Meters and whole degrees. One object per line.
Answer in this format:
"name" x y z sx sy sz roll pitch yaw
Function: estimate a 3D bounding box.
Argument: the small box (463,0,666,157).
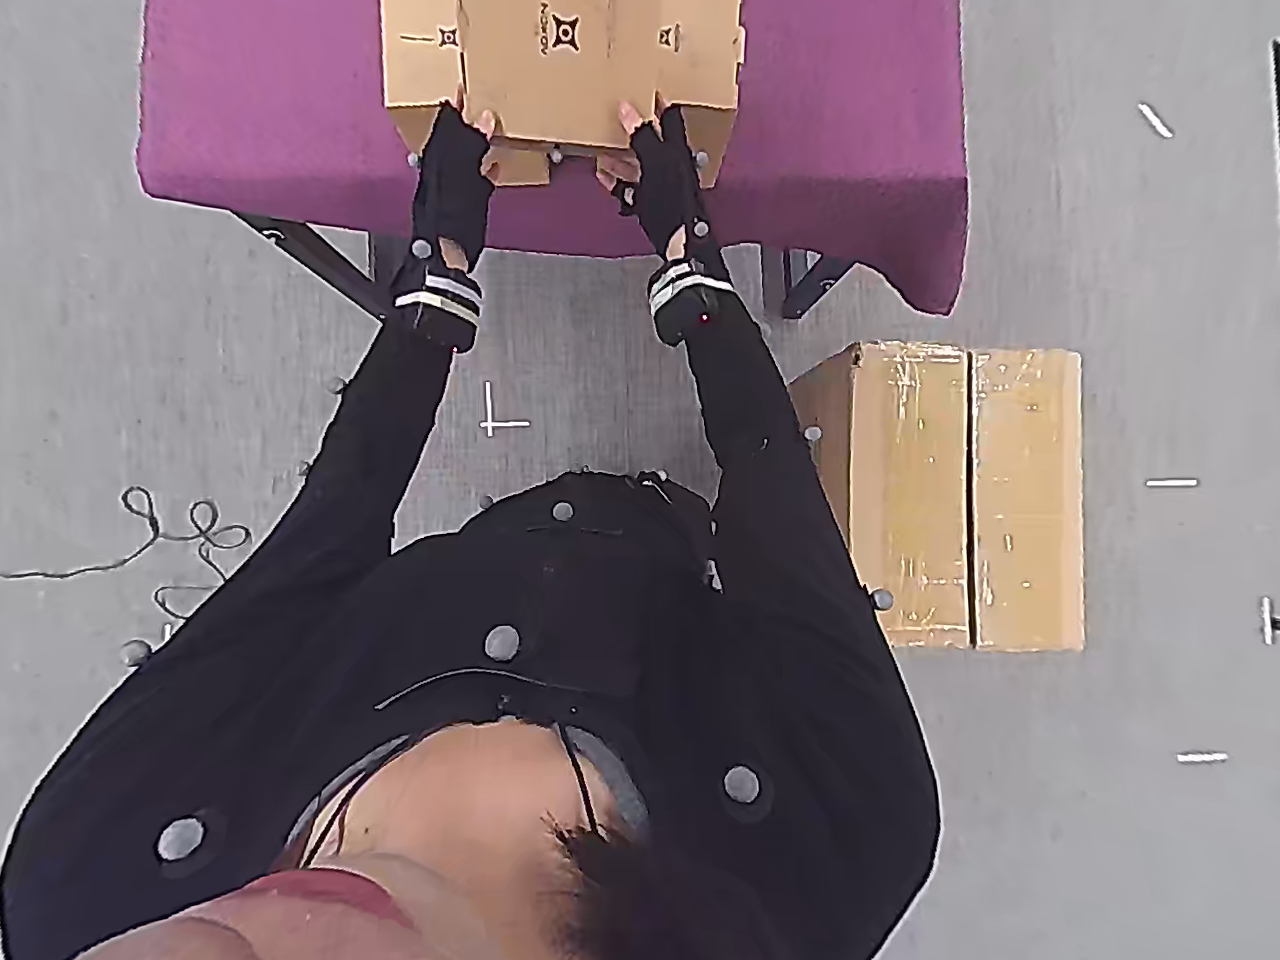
"small box" -0.074 -0.429 0.542 0.179 0.176 0.168 0 119 -8

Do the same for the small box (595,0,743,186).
"small box" 0.031 -0.528 0.735 0.179 0.176 0.168 3 87 -3

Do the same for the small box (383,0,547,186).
"small box" -0.220 -0.518 0.722 0.179 0.176 0.168 -3 87 -1
